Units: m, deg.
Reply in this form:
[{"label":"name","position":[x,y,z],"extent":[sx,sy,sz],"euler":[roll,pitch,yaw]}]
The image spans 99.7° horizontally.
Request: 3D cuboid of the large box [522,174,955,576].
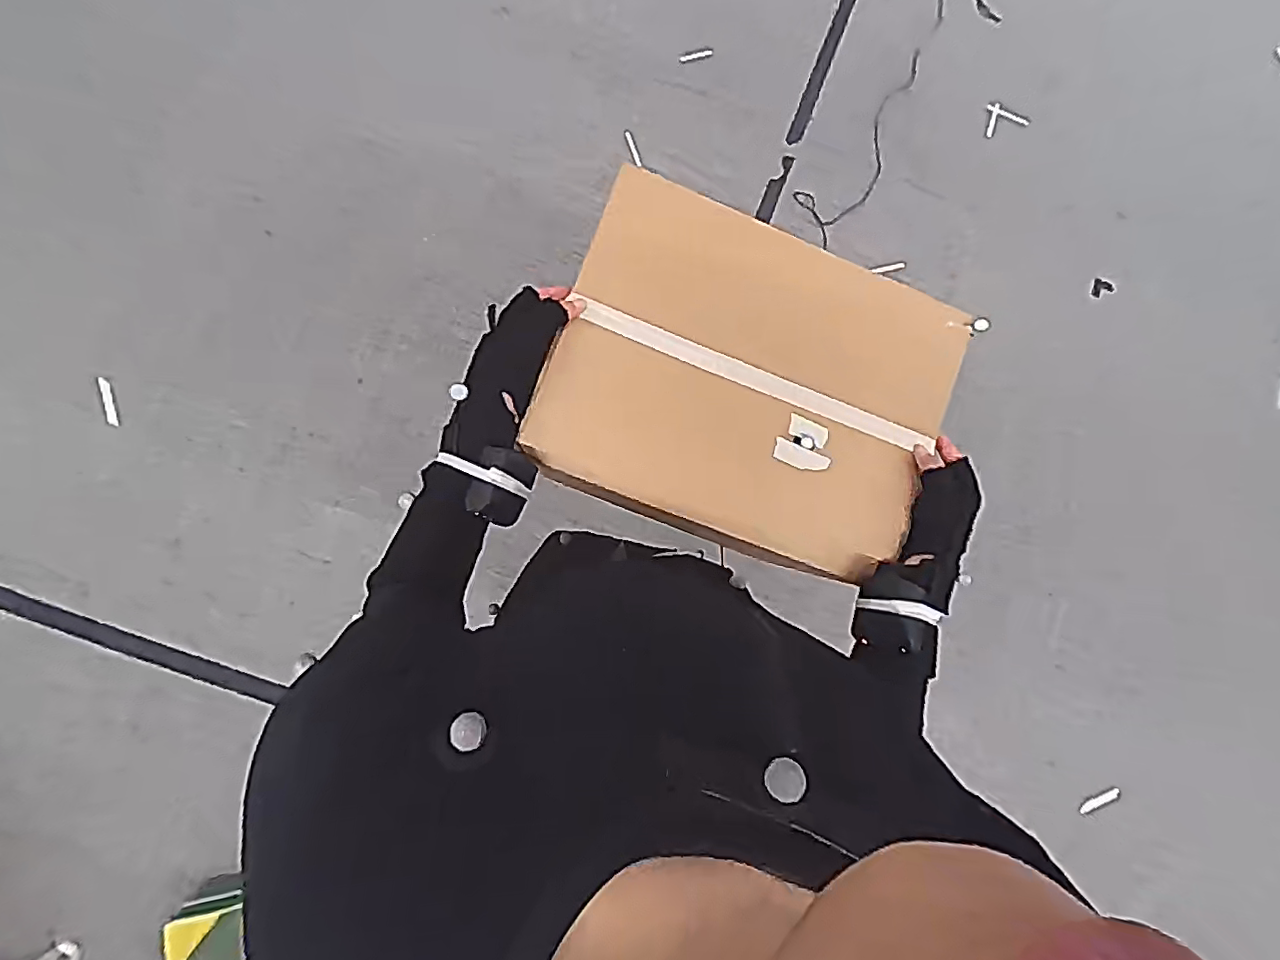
[{"label":"large box","position":[0.093,-0.099,0.707],"extent":[0.408,0.320,0.320],"euler":[21,86,-7]}]
